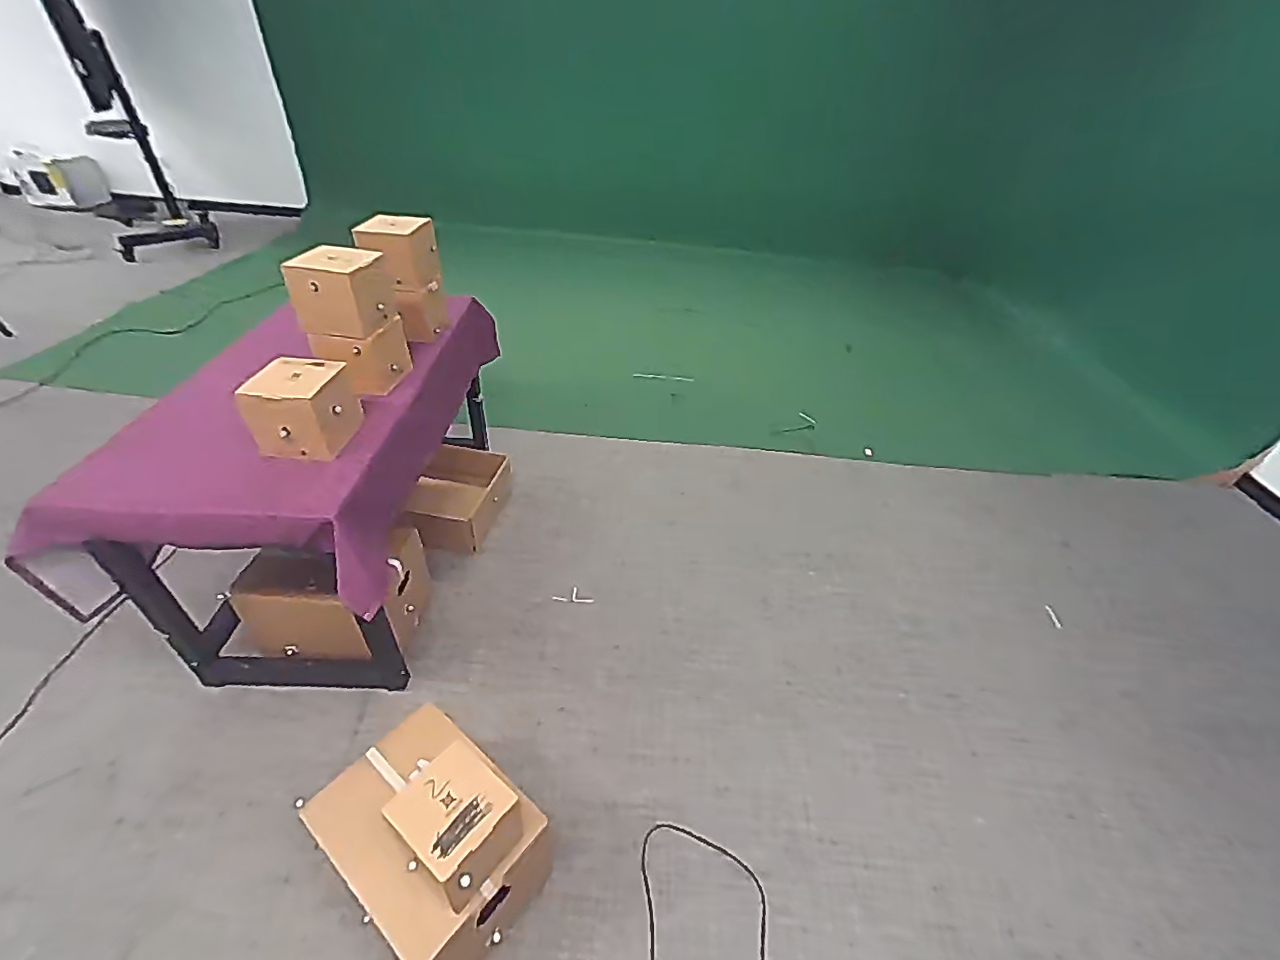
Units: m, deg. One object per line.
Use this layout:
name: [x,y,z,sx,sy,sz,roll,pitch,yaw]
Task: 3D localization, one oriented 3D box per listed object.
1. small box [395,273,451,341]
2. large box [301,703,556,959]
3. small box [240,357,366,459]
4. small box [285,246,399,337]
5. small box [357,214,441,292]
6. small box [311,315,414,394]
small box: [-0.727,-0.560,1.738,0.179,0.176,0.168,5,40,1]
large box: [-0.435,0.791,1.180,0.408,0.320,0.320,28,44,27]
small box: [-0.770,-0.167,1.262,0.168,0.176,0.179,6,40,0]
small box: [-0.753,-0.483,1.389,0.179,0.176,0.168,9,40,5]
small box: [-0.719,-0.688,1.637,0.168,0.176,0.179,5,40,2]
small box: [-0.756,-0.355,1.493,0.179,0.176,0.168,9,40,3]
